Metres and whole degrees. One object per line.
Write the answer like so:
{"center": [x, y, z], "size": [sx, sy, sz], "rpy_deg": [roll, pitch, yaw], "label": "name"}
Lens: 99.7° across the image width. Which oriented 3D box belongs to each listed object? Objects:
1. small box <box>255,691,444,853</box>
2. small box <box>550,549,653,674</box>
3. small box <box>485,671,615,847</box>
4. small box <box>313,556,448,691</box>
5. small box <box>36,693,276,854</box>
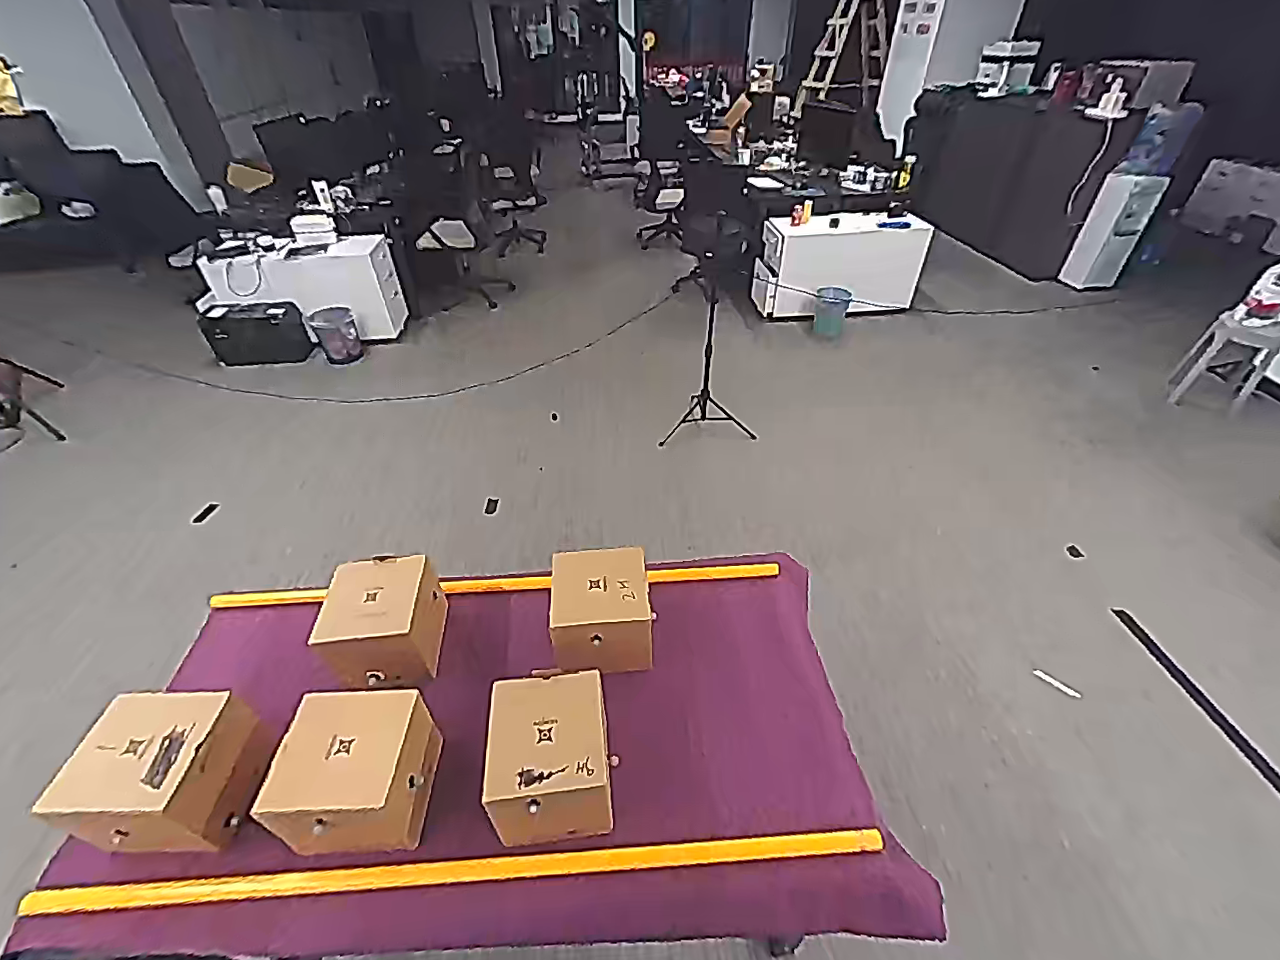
{"center": [-0.413, 0.438, 0.811], "size": [0.179, 0.176, 0.168], "rpy_deg": [-3, 40, -1], "label": "small box"}
{"center": [-0.069, 0.251, 1.022], "size": [0.179, 0.176, 0.168], "rpy_deg": [-3, 42, -3], "label": "small box"}
{"center": [-0.128, 0.421, 0.822], "size": [0.168, 0.176, 0.179], "rpy_deg": [-5, 38, -4], "label": "small box"}
{"center": [-0.470, 0.267, 1.013], "size": [0.168, 0.176, 0.179], "rpy_deg": [-6, 41, -4], "label": "small box"}
{"center": [-0.697, 0.440, 0.810], "size": [0.179, 0.176, 0.168], "rpy_deg": [0, 40, 1], "label": "small box"}
